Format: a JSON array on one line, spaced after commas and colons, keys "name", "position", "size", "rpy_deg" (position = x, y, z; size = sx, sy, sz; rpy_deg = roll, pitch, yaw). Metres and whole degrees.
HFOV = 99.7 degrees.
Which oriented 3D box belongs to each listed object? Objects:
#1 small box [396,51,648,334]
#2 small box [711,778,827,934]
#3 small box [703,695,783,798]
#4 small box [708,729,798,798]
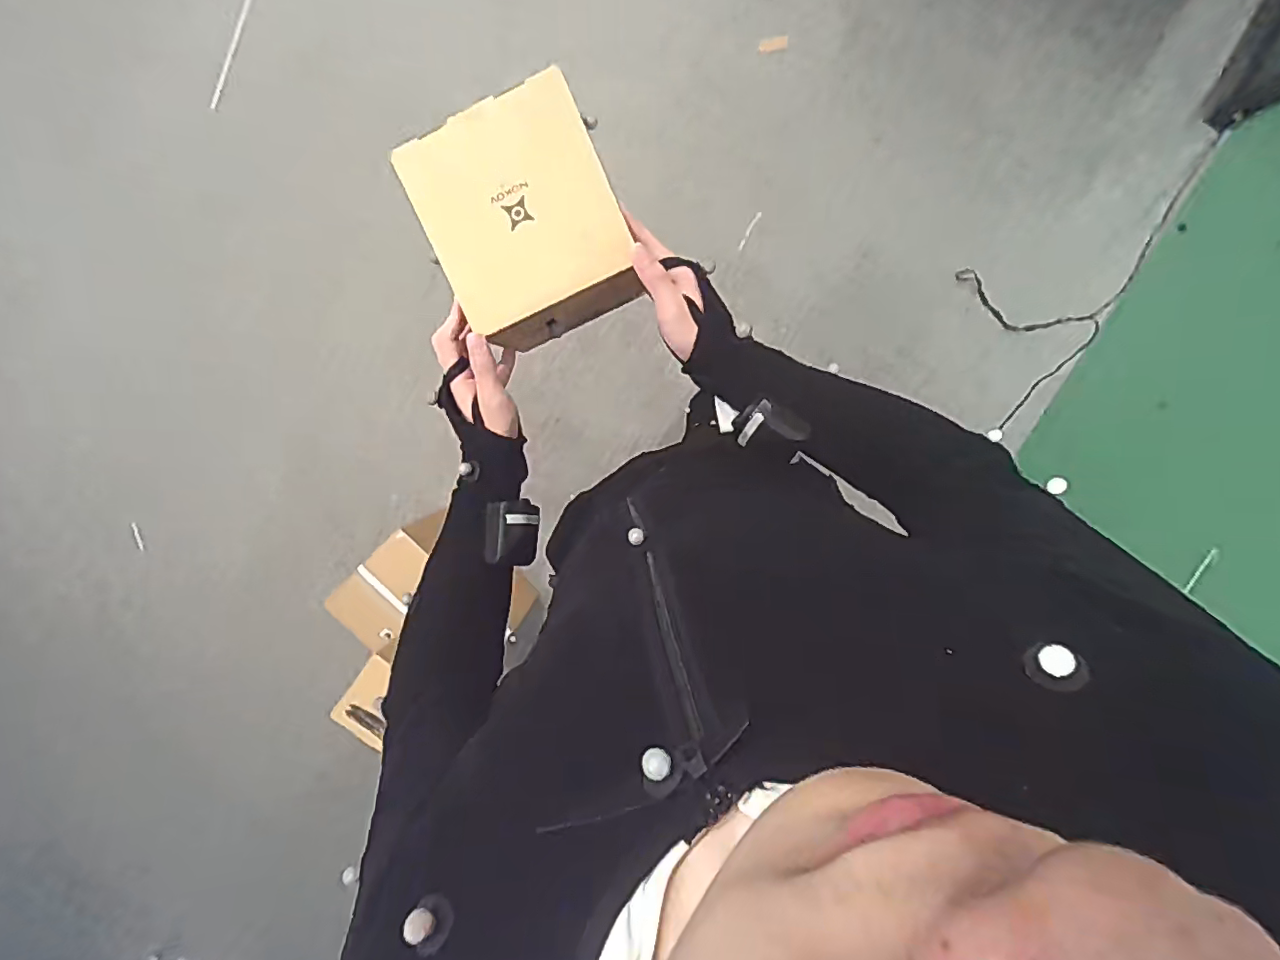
[{"name": "small box", "position": [-0.097, -0.258, 0.540], "size": [0.168, 0.176, 0.179], "rpy_deg": [-23, 98, 6]}, {"name": "small box", "position": [0.228, 0.680, 0.994], "size": [0.179, 0.176, 0.168], "rpy_deg": [-6, 98, 1]}, {"name": "small box", "position": [0.248, 0.647, 1.318], "size": [0.179, 0.176, 0.168], "rpy_deg": [-6, 98, 3]}, {"name": "small box", "position": [0.238, 0.662, 1.156], "size": [0.168, 0.176, 0.179], "rpy_deg": [-4, 97, 3]}]
